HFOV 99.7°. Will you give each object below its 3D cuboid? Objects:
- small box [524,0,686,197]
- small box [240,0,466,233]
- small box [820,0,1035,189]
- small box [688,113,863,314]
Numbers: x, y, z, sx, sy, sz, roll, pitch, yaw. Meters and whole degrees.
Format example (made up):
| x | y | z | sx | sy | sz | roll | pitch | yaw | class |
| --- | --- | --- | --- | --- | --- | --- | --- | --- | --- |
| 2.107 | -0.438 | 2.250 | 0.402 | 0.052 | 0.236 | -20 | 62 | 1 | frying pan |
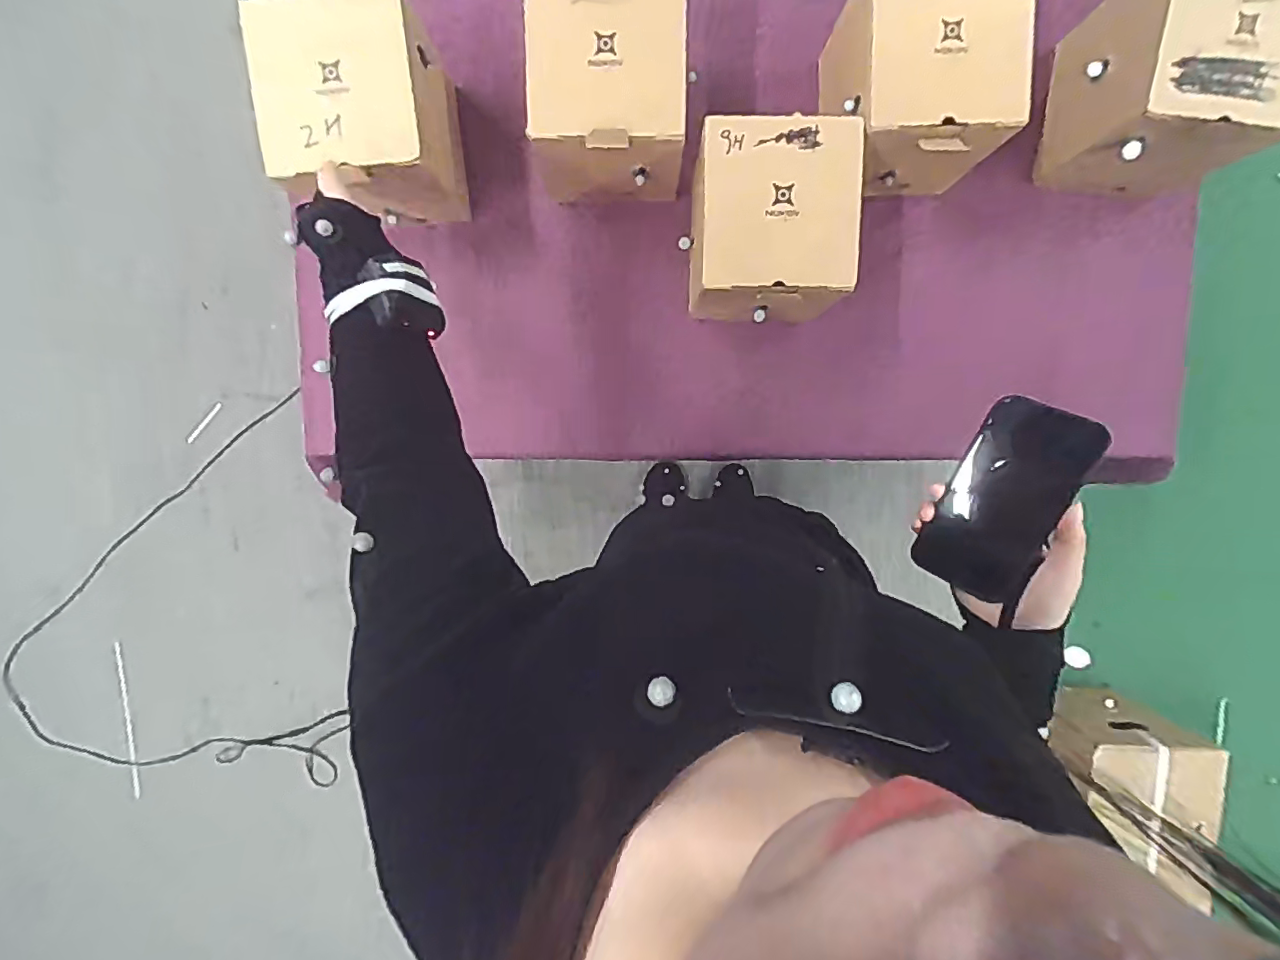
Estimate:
| x | y | z | sx | sy | sz | roll | pitch | yaw | class |
| --- | --- | --- | --- | --- | --- | --- | --- | --- | --- |
| -0.036 | -0.450 | 0.629 | 0.168 | 0.176 | 0.179 | 0 | 96 | -1 | small box |
| -0.318 | -0.416 | 0.636 | 0.168 | 0.176 | 0.179 | -6 | 96 | 1 | small box |
| 0.313 | -0.461 | 0.624 | 0.168 | 0.176 | 0.179 | -2 | 97 | 1 | small box |
| 0.147 | -0.299 | 0.642 | 0.168 | 0.176 | 0.179 | 0 | 97 | 0 | small box |
